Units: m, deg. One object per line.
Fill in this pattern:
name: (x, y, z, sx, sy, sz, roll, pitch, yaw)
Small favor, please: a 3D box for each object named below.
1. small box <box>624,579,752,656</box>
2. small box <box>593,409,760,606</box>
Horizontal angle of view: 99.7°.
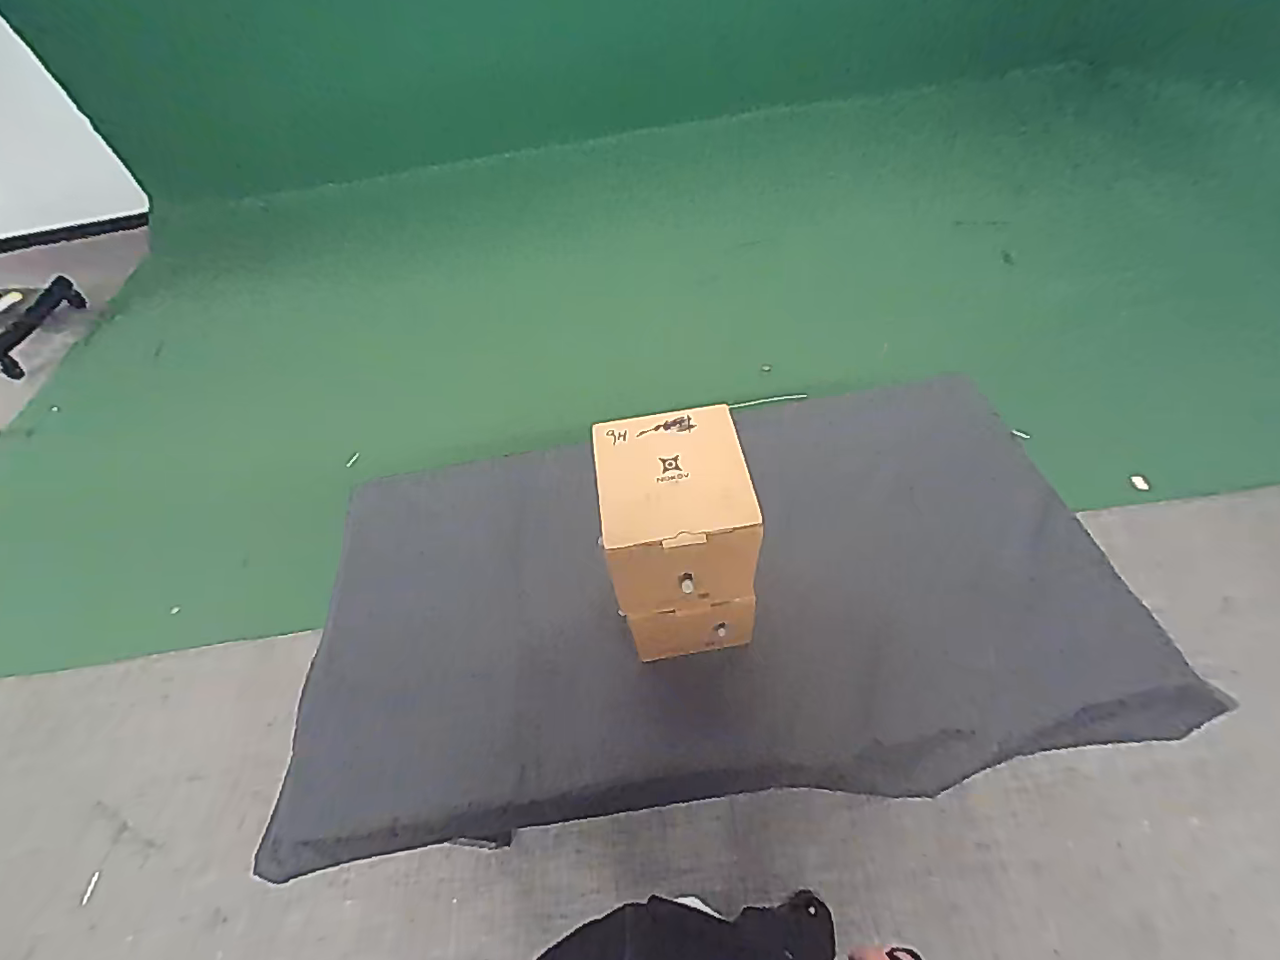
small box: (0.060, 0.143, 0.789, 0.168, 0.176, 0.179, -10, 52, -1)
small box: (0.041, 0.043, 0.660, 0.168, 0.176, 0.179, -8, 55, -1)
